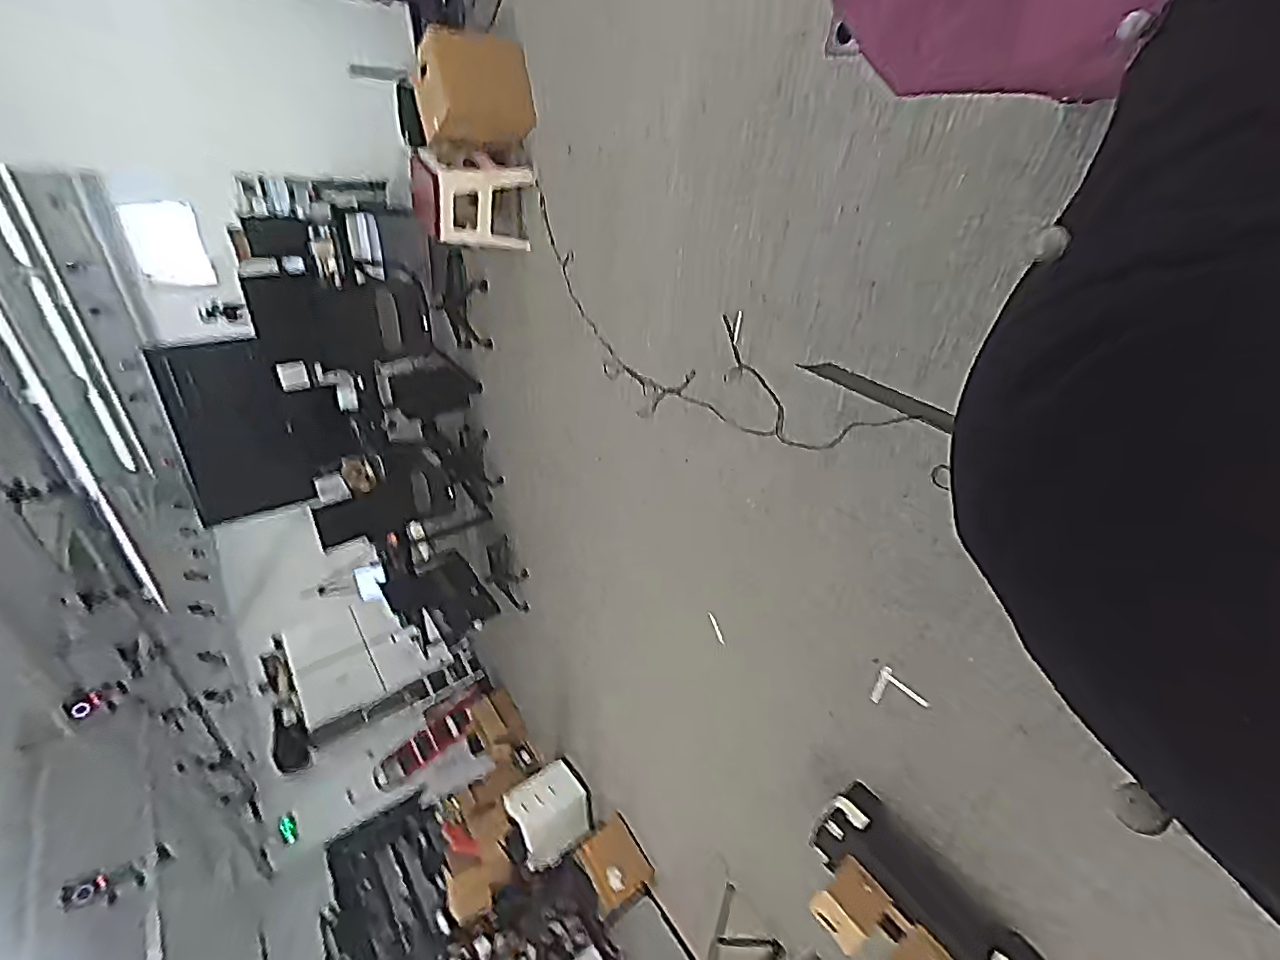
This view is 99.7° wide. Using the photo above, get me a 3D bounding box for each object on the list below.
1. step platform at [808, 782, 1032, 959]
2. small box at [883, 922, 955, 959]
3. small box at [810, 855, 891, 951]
[{"bbox_3d":[0.911,1.421,1.849,0.684,0.204,0.286,38,136,38],"label":"step platform"},{"bbox_3d":[0.858,1.521,1.659,0.168,0.176,0.179,39,136,38],"label":"small box"},{"bbox_3d":[0.710,1.418,1.819,0.168,0.176,0.179,40,136,37],"label":"small box"}]
